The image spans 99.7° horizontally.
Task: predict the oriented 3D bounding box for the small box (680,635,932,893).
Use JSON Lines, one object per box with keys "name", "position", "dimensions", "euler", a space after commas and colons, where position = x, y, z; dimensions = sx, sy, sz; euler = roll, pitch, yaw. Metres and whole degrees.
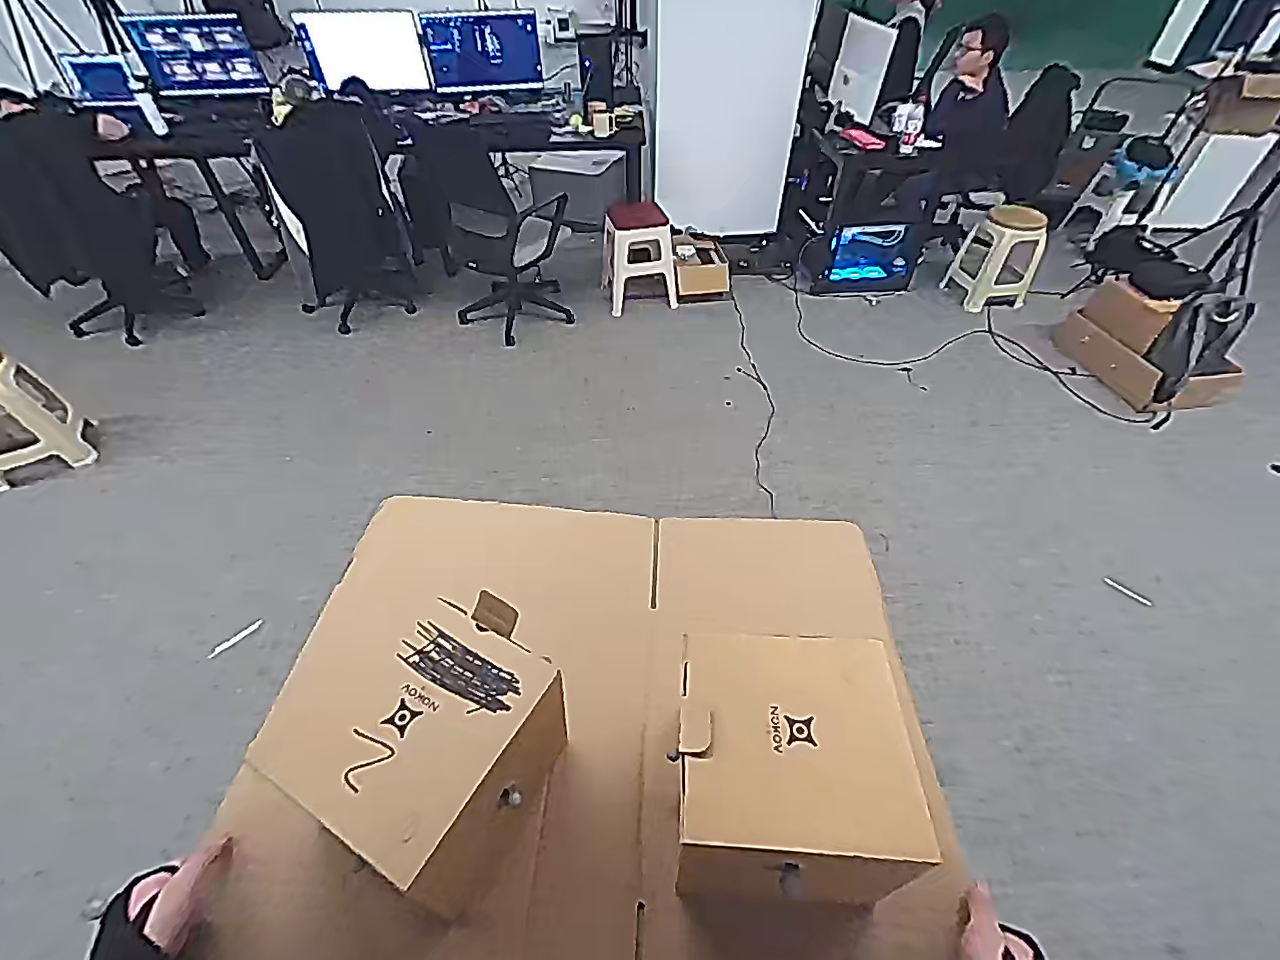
{"name": "small box", "position": [0.127, 0.260, 0.494], "dimensions": [0.179, 0.176, 0.168], "euler": [1, 45, 4]}
